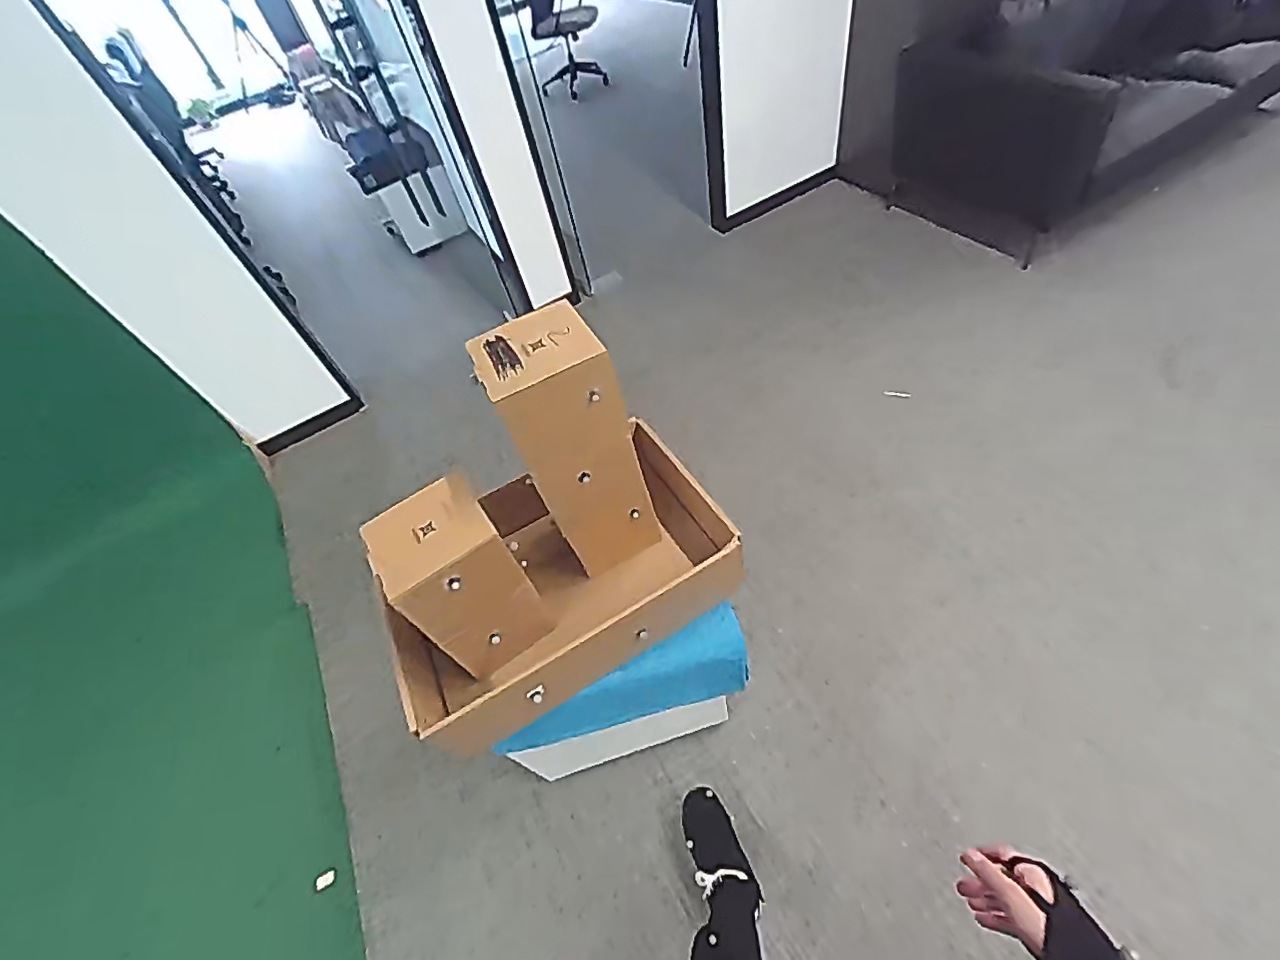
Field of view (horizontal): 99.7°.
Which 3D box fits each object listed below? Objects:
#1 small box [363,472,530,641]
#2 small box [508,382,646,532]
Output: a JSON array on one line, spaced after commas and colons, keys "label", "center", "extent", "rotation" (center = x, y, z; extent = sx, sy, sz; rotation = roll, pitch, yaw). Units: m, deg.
[{"label": "small box", "center": [-0.307, 0.128, 0.878], "extent": [0.179, 0.176, 0.168], "rotation": [-32, 52, -15]}, {"label": "small box", "center": [-0.107, -0.037, 0.967], "extent": [0.179, 0.176, 0.168], "rotation": [-26, 51, -8]}]
